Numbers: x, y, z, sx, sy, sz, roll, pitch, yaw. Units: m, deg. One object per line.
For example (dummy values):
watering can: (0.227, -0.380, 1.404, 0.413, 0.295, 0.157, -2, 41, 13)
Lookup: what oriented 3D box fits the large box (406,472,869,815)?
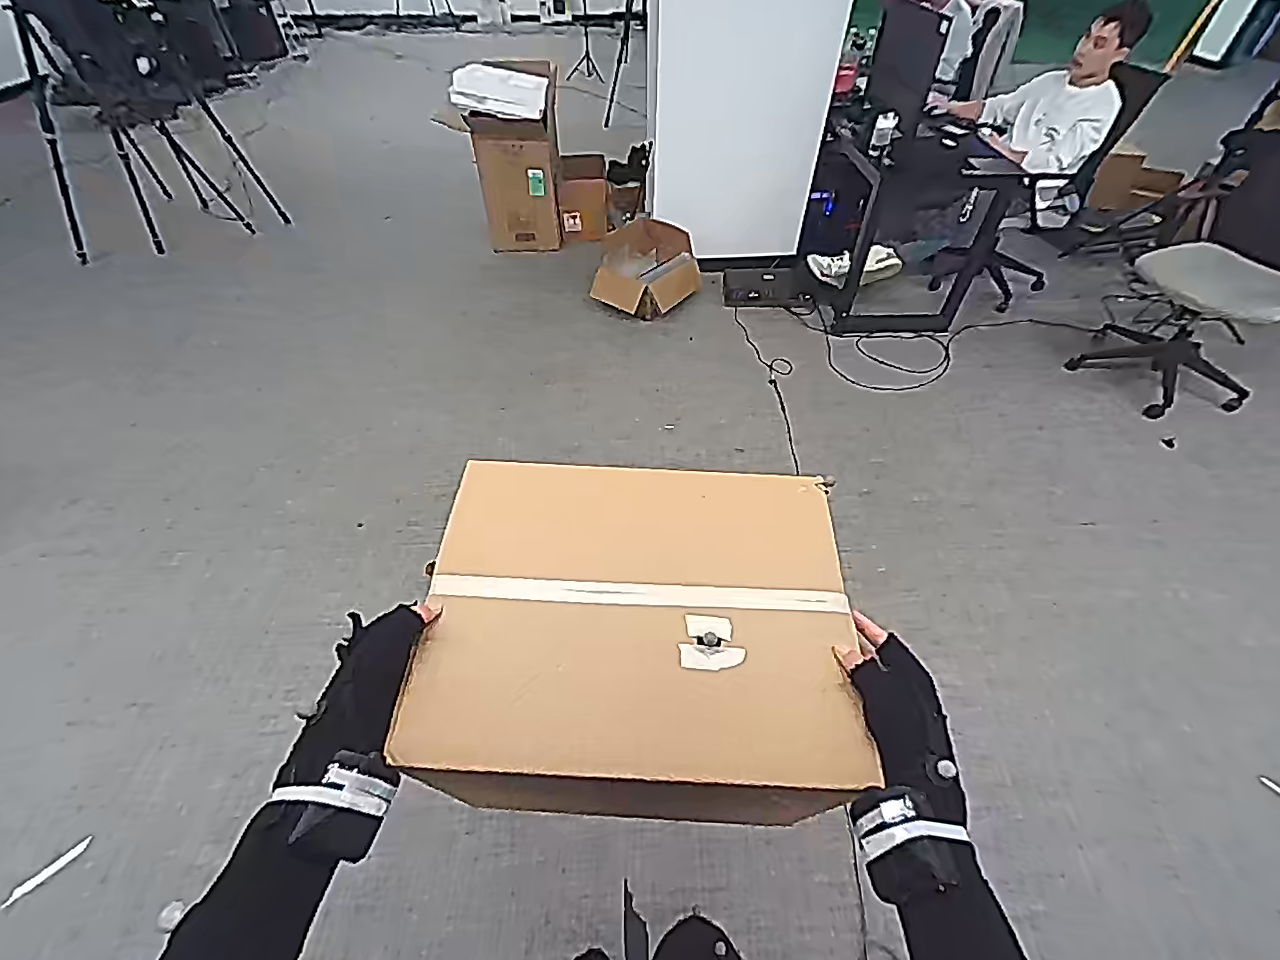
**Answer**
large box: (-0.003, 0.210, 0.663, 0.408, 0.320, 0.320, 3, 54, 0)
